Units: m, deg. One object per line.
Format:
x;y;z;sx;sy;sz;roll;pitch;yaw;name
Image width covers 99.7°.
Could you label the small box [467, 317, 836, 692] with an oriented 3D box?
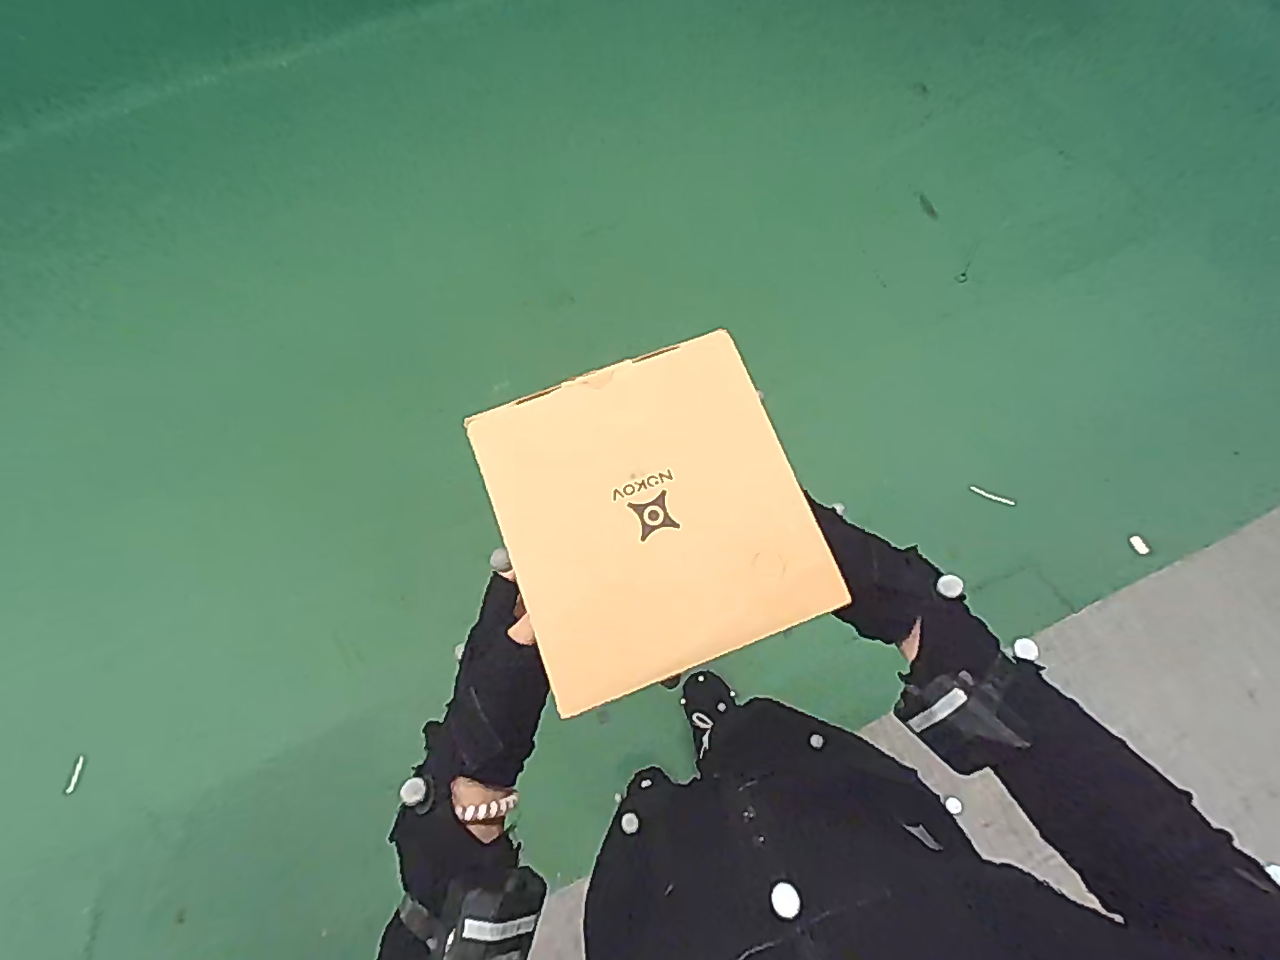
0.004;0.024;0.382;0.168;0.176;0.179;-20;76;-5;small box
